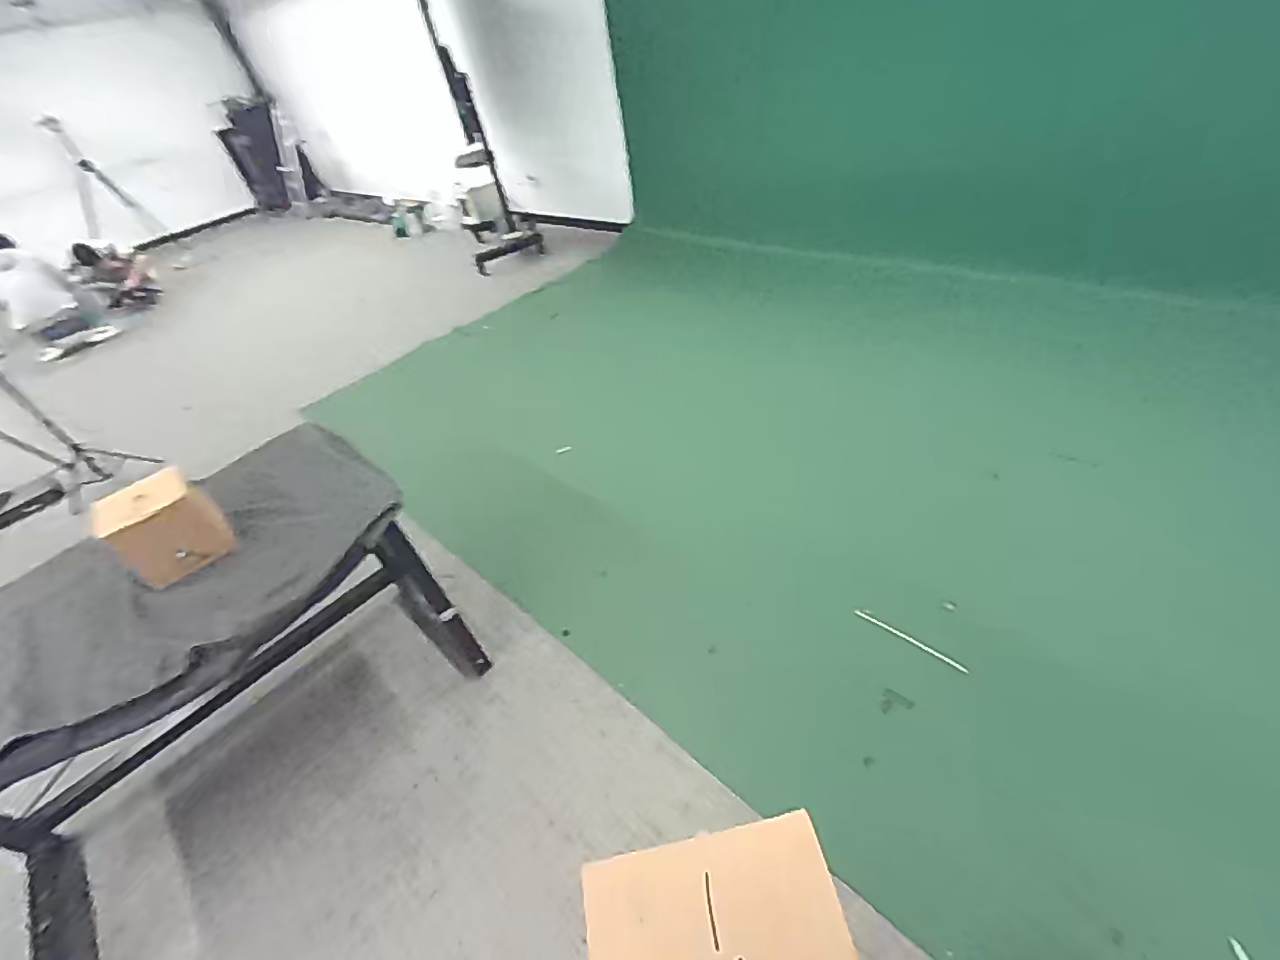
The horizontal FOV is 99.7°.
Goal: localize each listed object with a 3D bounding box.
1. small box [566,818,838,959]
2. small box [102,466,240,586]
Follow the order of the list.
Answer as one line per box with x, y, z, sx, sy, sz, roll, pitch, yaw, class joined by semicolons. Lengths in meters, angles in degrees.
0.053;0.367;0.380;0.168;0.176;0.179;-13;49;-3;small box
-1.042;0.104;1.207;0.168;0.176;0.179;-37;46;-25;small box
